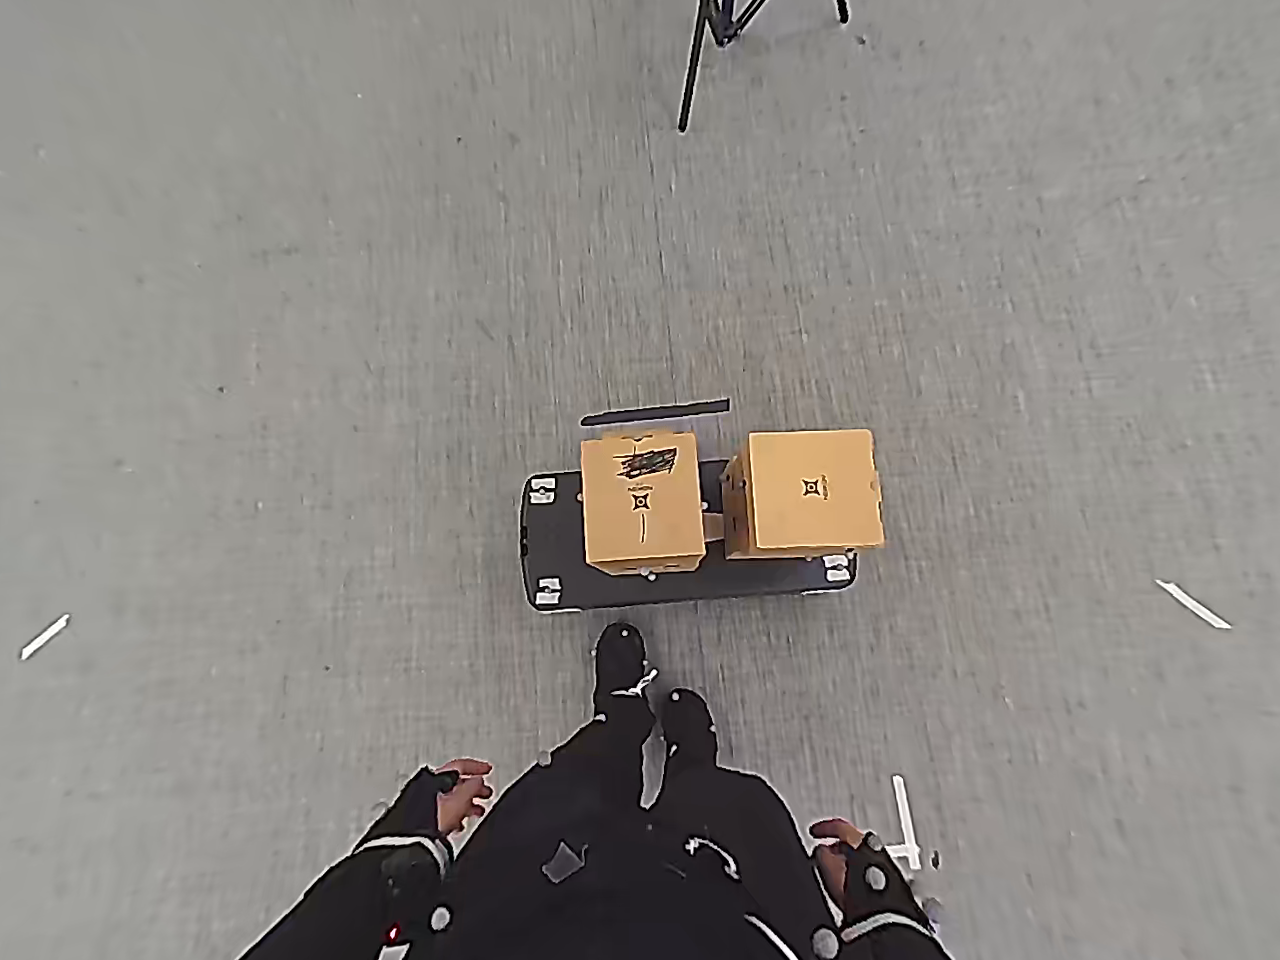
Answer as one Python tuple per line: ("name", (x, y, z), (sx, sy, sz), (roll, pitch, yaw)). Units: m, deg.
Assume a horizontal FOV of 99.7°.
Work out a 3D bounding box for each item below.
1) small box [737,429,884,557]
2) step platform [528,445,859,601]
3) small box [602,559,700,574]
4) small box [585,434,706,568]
("small box", (0.246, 0.027, 0.826), (0.179, 0.176, 0.168), (-2, 78, 1))
("step platform", (0.106, 0.090, 1.162), (0.684, 0.204, 0.286), (-5, 77, 2))
("small box", (0.017, 0.077, 0.992), (0.168, 0.176, 0.179), (-4, 78, 2))
("small box", (0.008, 0.039, 0.832), (0.168, 0.176, 0.179), (-4, 78, 2))
